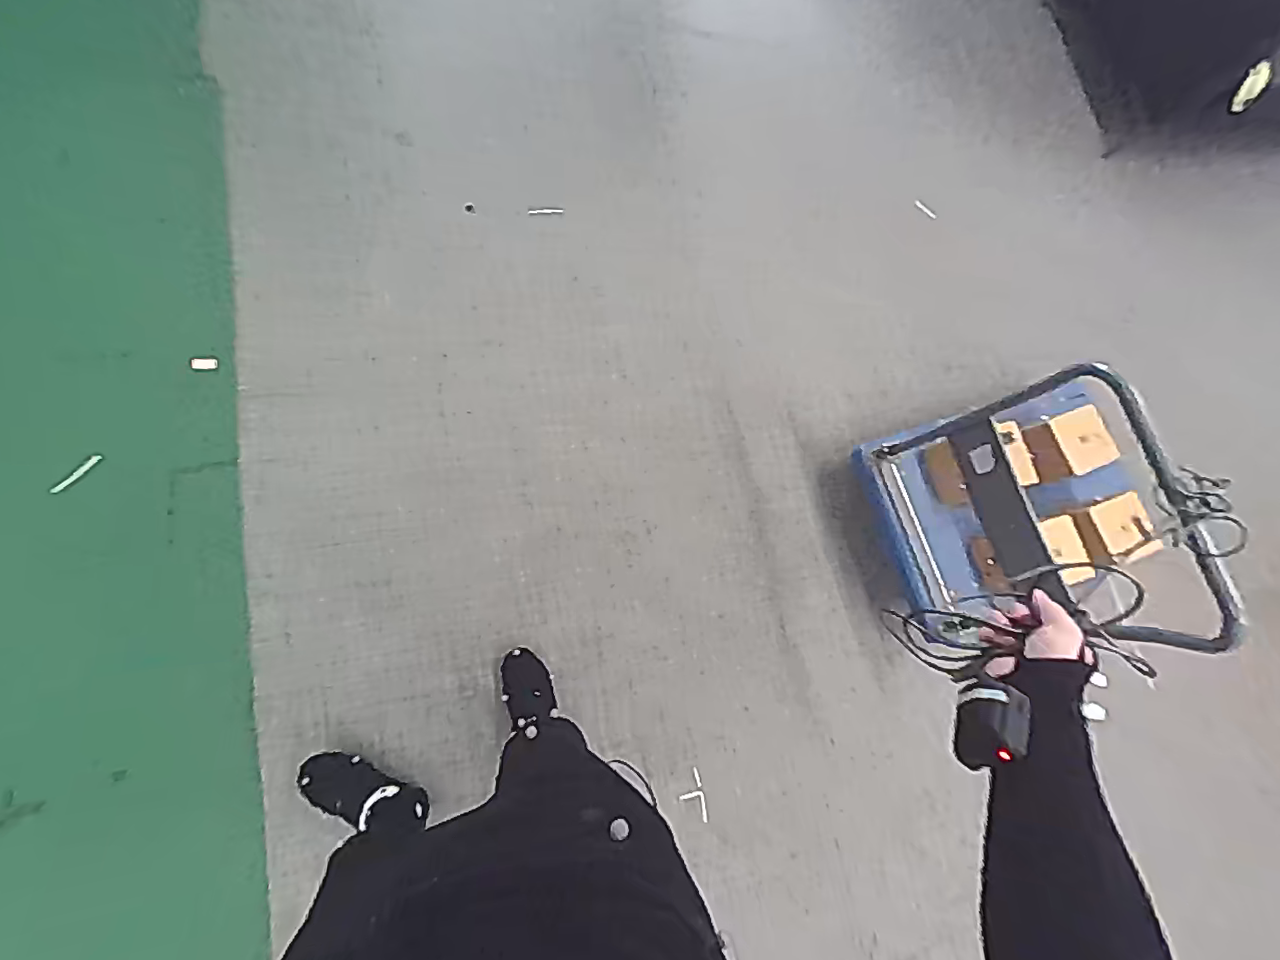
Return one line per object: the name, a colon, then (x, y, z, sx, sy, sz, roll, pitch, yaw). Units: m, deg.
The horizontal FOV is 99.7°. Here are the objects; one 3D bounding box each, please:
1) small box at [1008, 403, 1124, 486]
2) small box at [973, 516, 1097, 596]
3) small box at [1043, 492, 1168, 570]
small box: (1.193, -0.094, 1.534, 0.179, 0.176, 0.168, -19, 81, -15)
small box: (1.039, 0.204, 1.434, 0.179, 0.176, 0.168, -14, 79, -13)
small box: (1.270, 0.146, 1.489, 0.179, 0.176, 0.168, -17, 80, -14)
